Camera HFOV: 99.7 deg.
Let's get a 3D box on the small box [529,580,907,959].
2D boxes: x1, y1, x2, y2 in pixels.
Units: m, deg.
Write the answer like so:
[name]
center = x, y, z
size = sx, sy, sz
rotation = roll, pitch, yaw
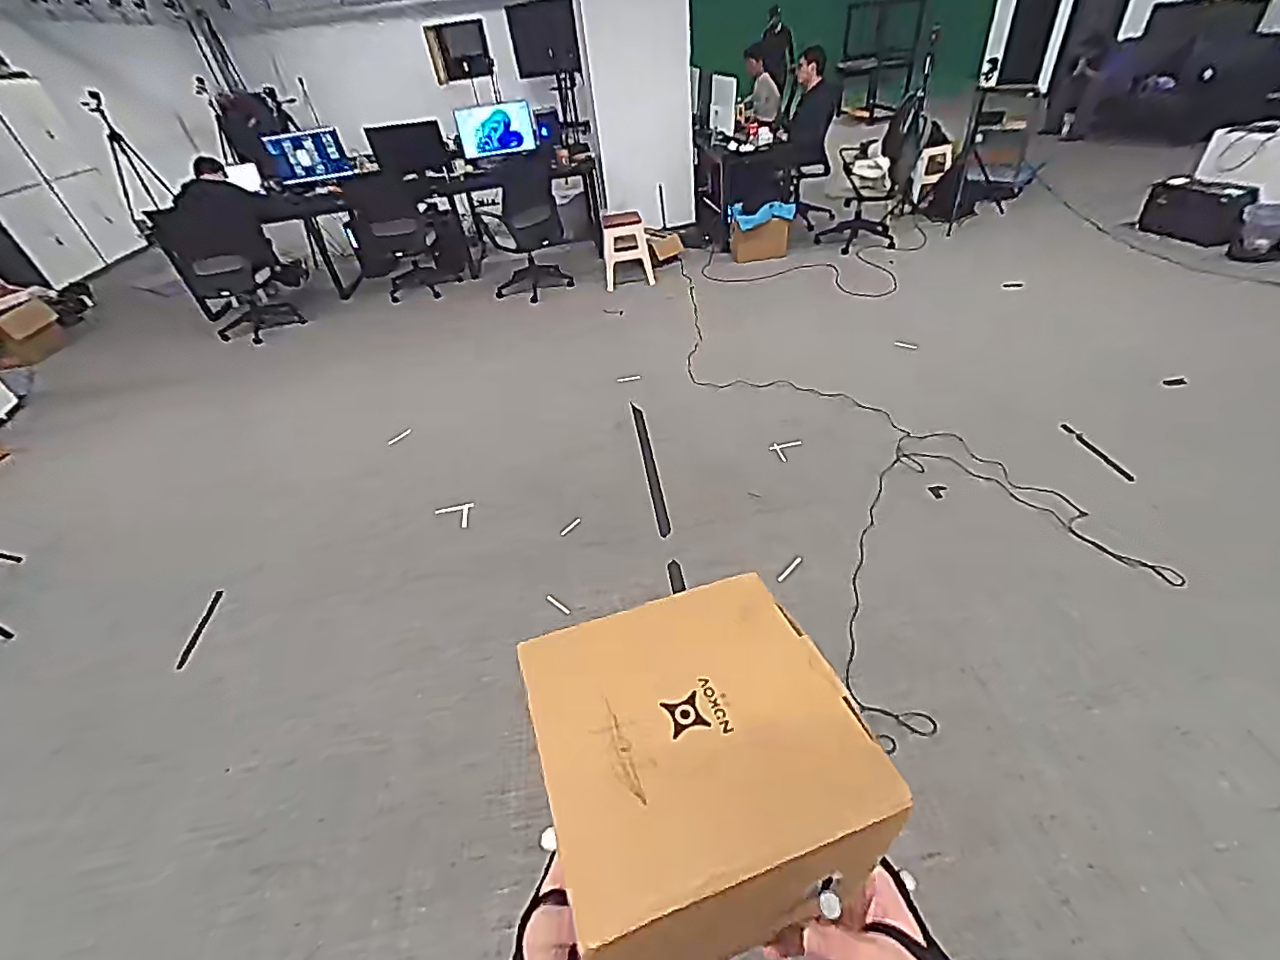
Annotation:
[small box]
center = 0.036, 0.203, 0.368
size = 0.179, 0.176, 0.168
rotation = -15, 39, -13
